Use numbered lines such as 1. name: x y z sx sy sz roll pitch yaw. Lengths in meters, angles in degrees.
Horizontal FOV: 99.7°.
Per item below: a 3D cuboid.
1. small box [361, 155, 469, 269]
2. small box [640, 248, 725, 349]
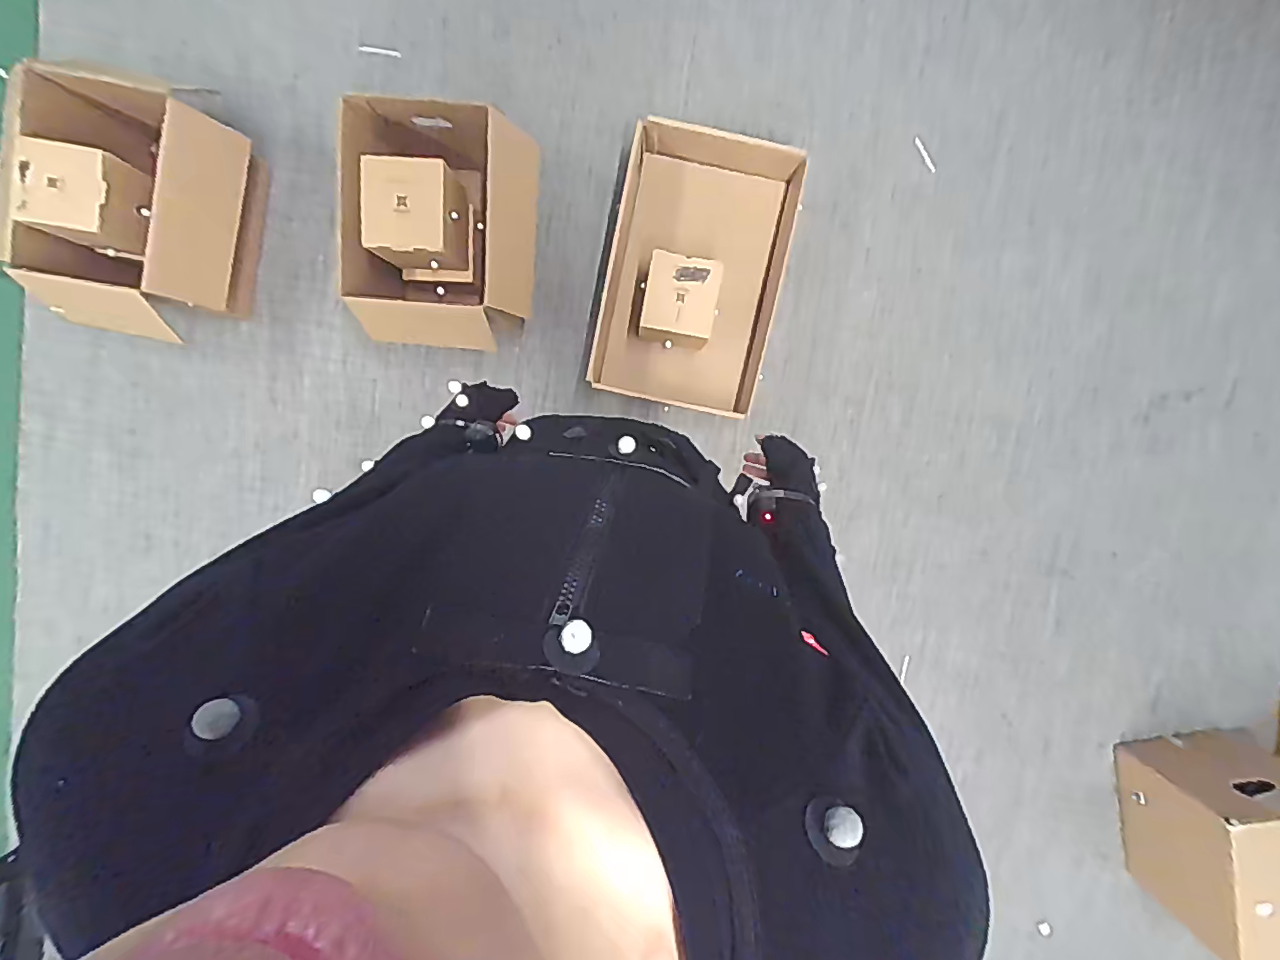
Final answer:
1. small box: -0.471 -0.558 1.151 0.168 0.176 0.179 3 97 0
2. small box: 0.094 -0.425 1.292 0.168 0.176 0.179 10 95 -1
